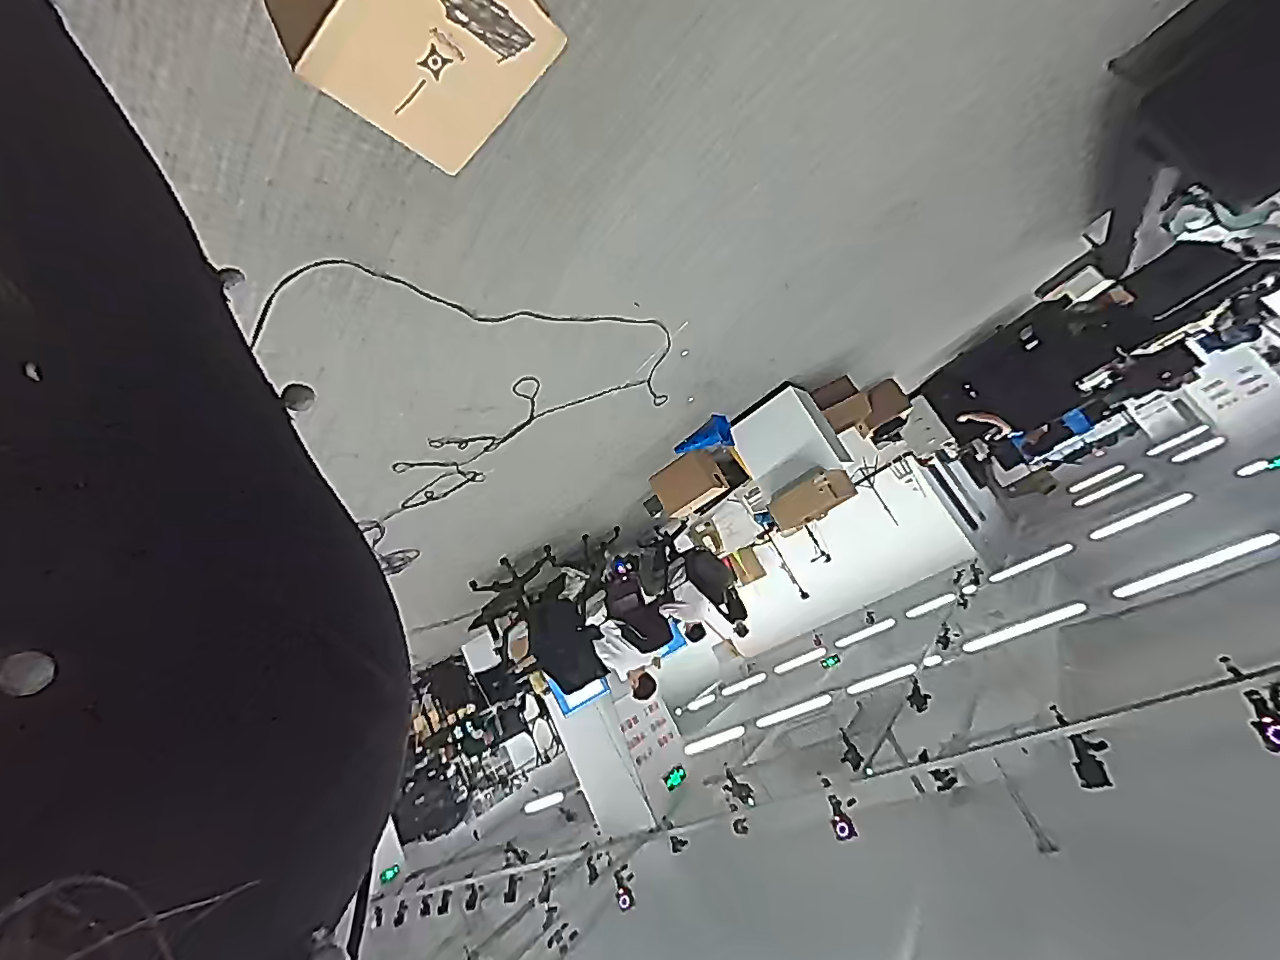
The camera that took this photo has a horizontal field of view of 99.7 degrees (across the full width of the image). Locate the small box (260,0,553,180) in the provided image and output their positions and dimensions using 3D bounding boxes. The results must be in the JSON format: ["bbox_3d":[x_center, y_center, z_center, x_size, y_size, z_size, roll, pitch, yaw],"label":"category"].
[{"bbox_3d":[-0.217,-0.431,0.488,0.179,0.176,0.168,-32,165,24],"label":"small box"}]
